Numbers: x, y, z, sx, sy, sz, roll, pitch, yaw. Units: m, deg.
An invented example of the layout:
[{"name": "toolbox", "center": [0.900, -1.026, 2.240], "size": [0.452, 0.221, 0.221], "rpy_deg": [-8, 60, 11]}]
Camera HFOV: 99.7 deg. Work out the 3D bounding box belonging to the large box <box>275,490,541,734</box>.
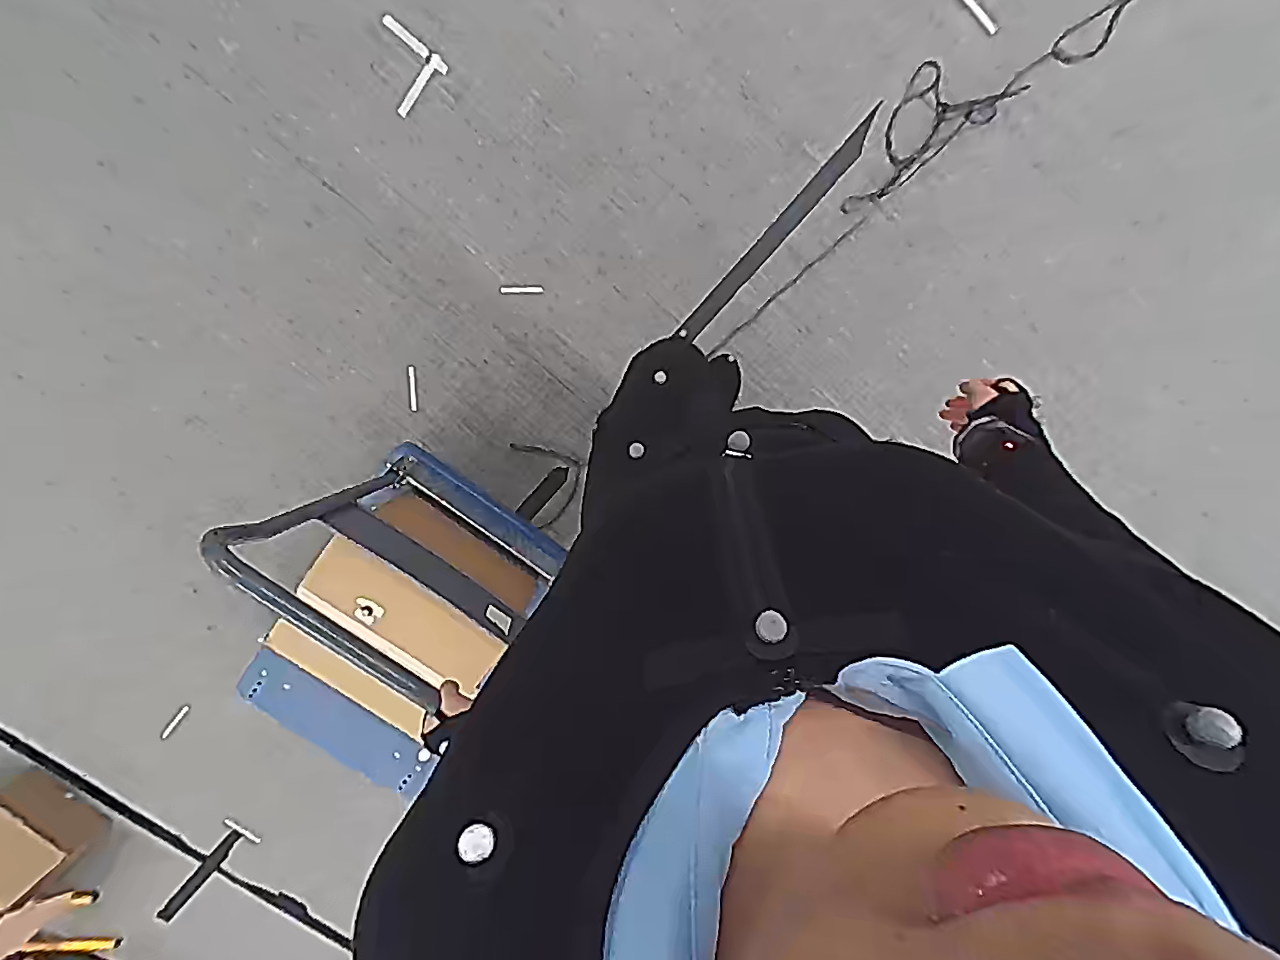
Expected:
[{"name": "large box", "center": [-0.502, 0.285, 1.253], "size": [0.408, 0.320, 0.320], "rpy_deg": [37, 100, -6]}]
